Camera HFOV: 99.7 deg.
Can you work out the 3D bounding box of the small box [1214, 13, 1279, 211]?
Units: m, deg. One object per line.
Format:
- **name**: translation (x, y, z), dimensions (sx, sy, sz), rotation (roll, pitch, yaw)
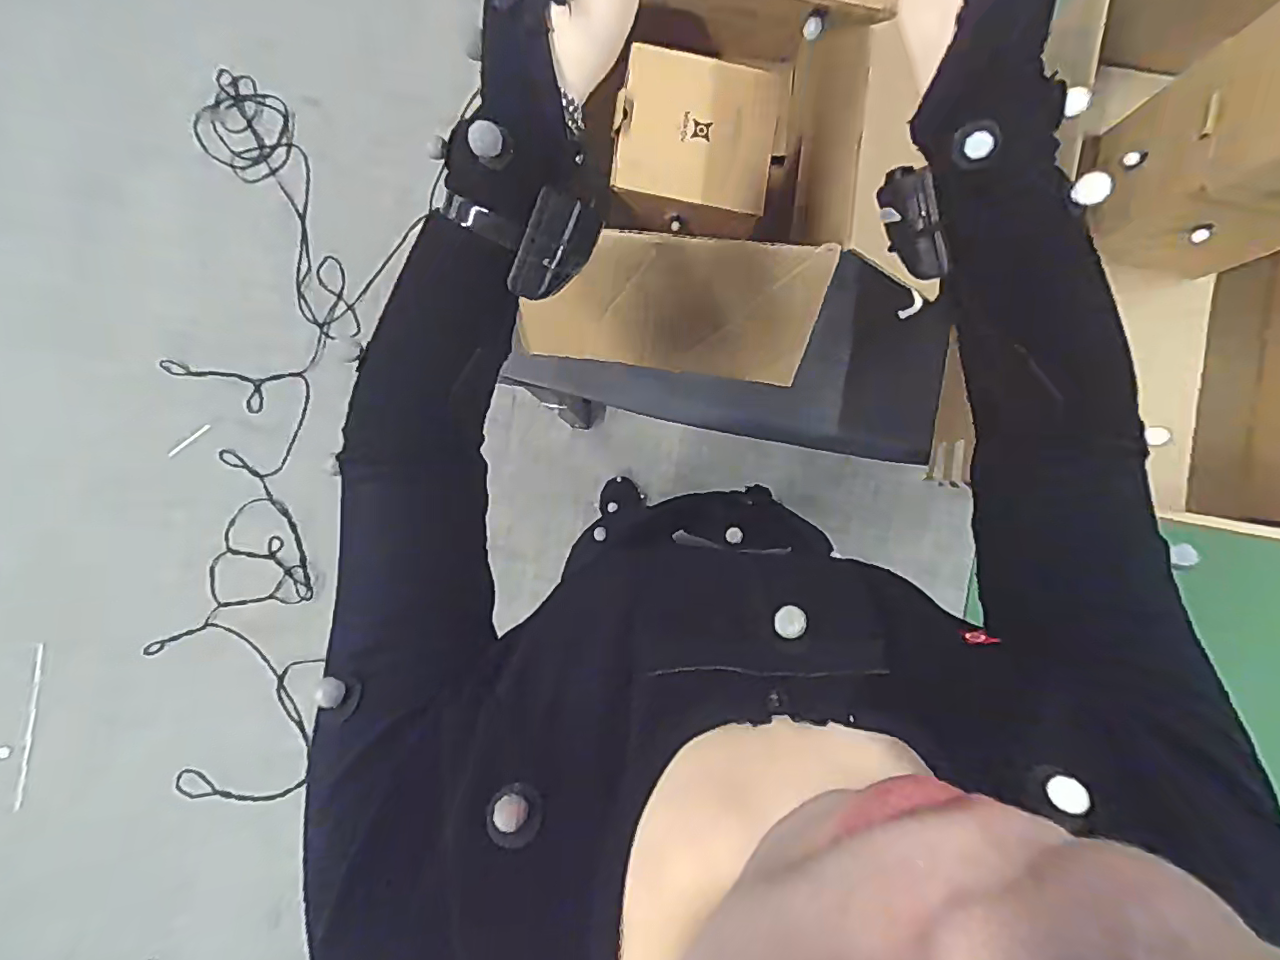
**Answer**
- **small box**: translation (0.685, -0.363, 0.482), dimensions (0.168, 0.176, 0.179), rotation (10, 91, 1)
